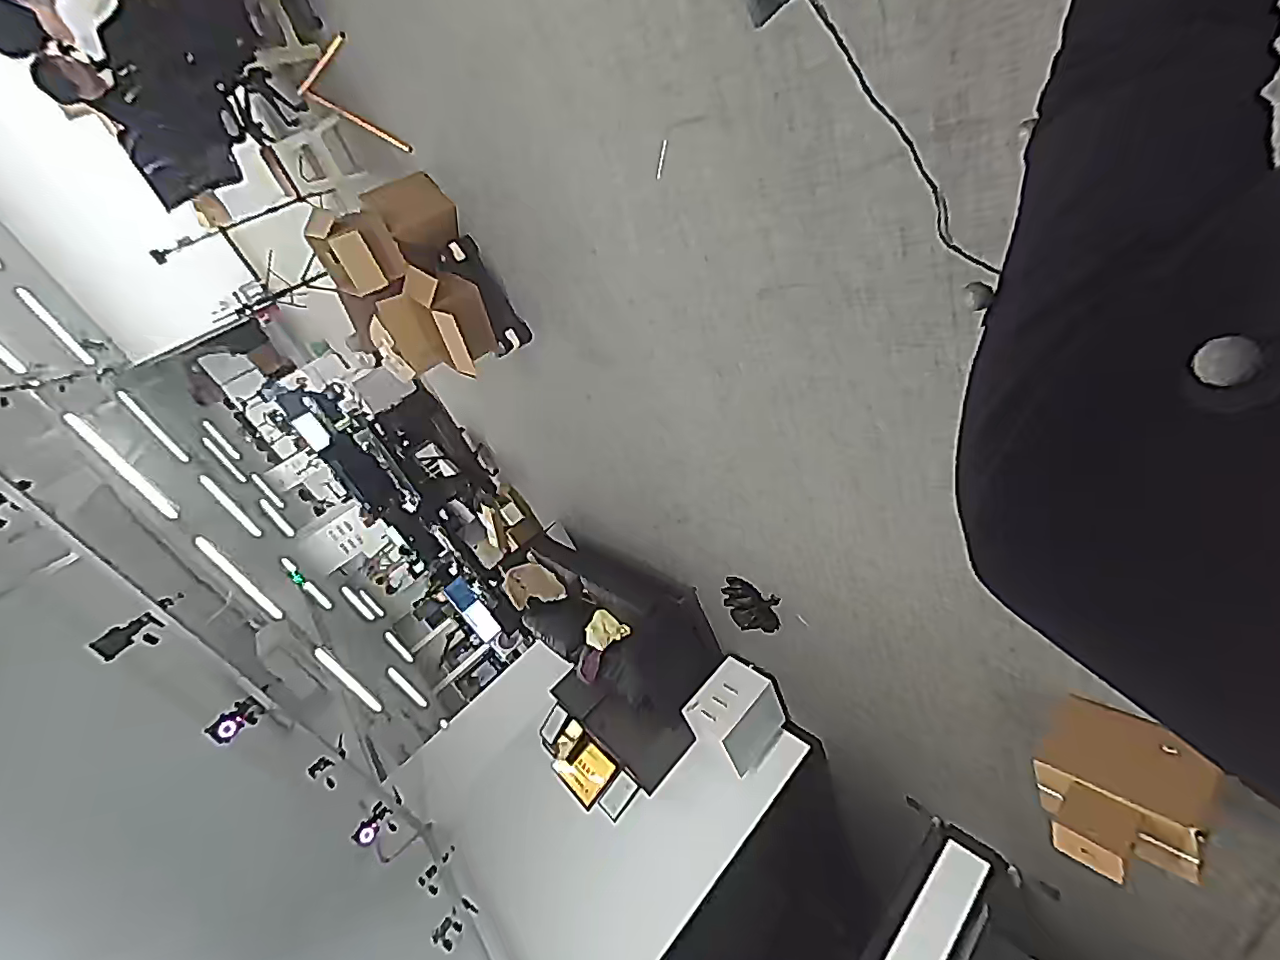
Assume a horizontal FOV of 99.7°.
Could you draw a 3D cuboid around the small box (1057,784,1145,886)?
[{"bbox_3d":[1.438,1.096,1.684,0.179,0.176,0.168,15,136,53],"label":"small box"}]
